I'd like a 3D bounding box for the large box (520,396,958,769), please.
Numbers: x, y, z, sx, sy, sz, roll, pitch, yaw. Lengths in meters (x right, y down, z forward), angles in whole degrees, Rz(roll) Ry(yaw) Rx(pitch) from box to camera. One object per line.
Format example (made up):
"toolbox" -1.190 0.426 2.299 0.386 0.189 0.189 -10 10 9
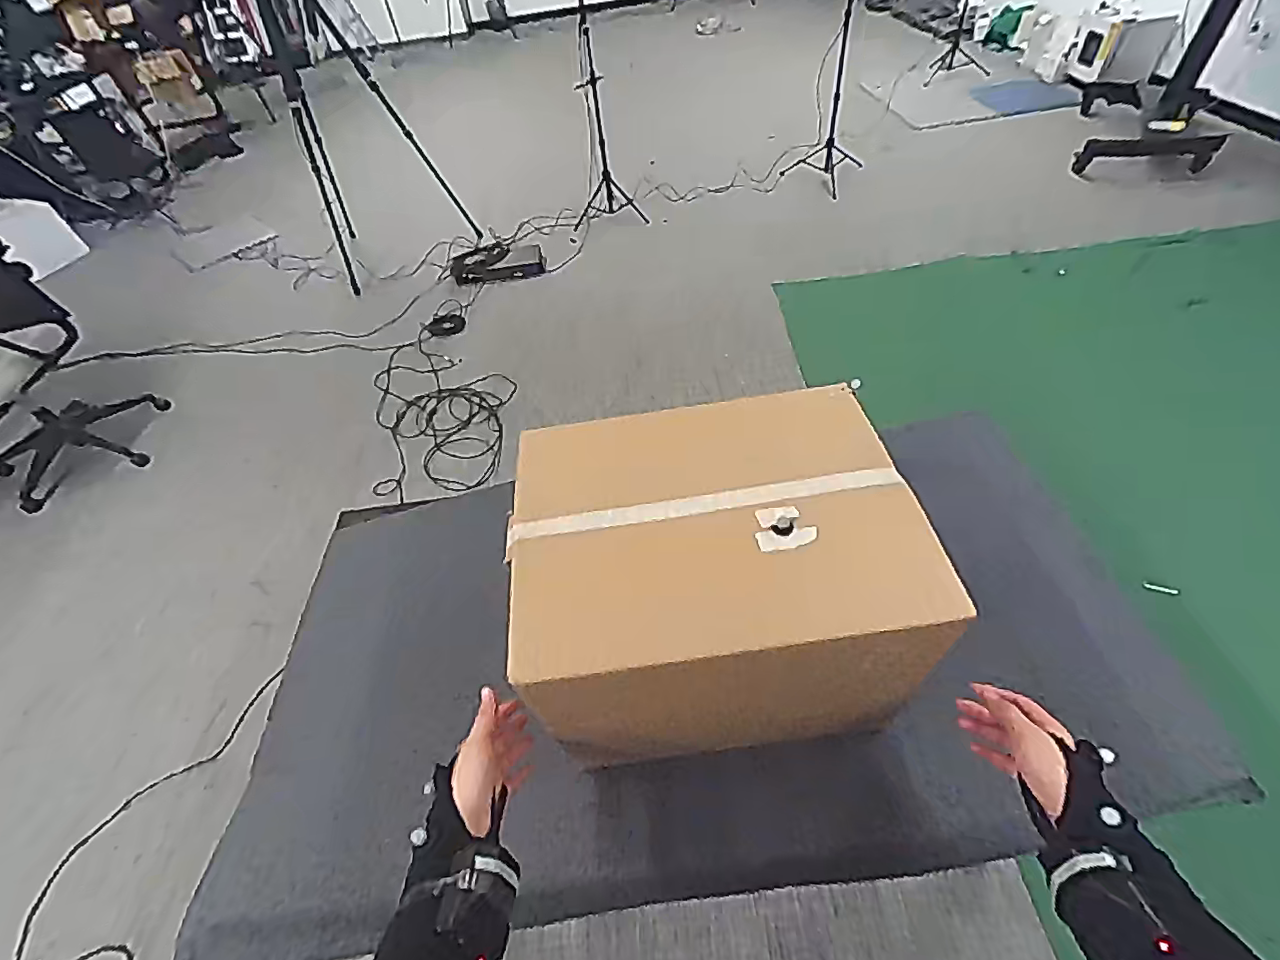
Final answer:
"large box" 0.084 0.135 0.684 0.408 0.320 0.320 -8 50 0
